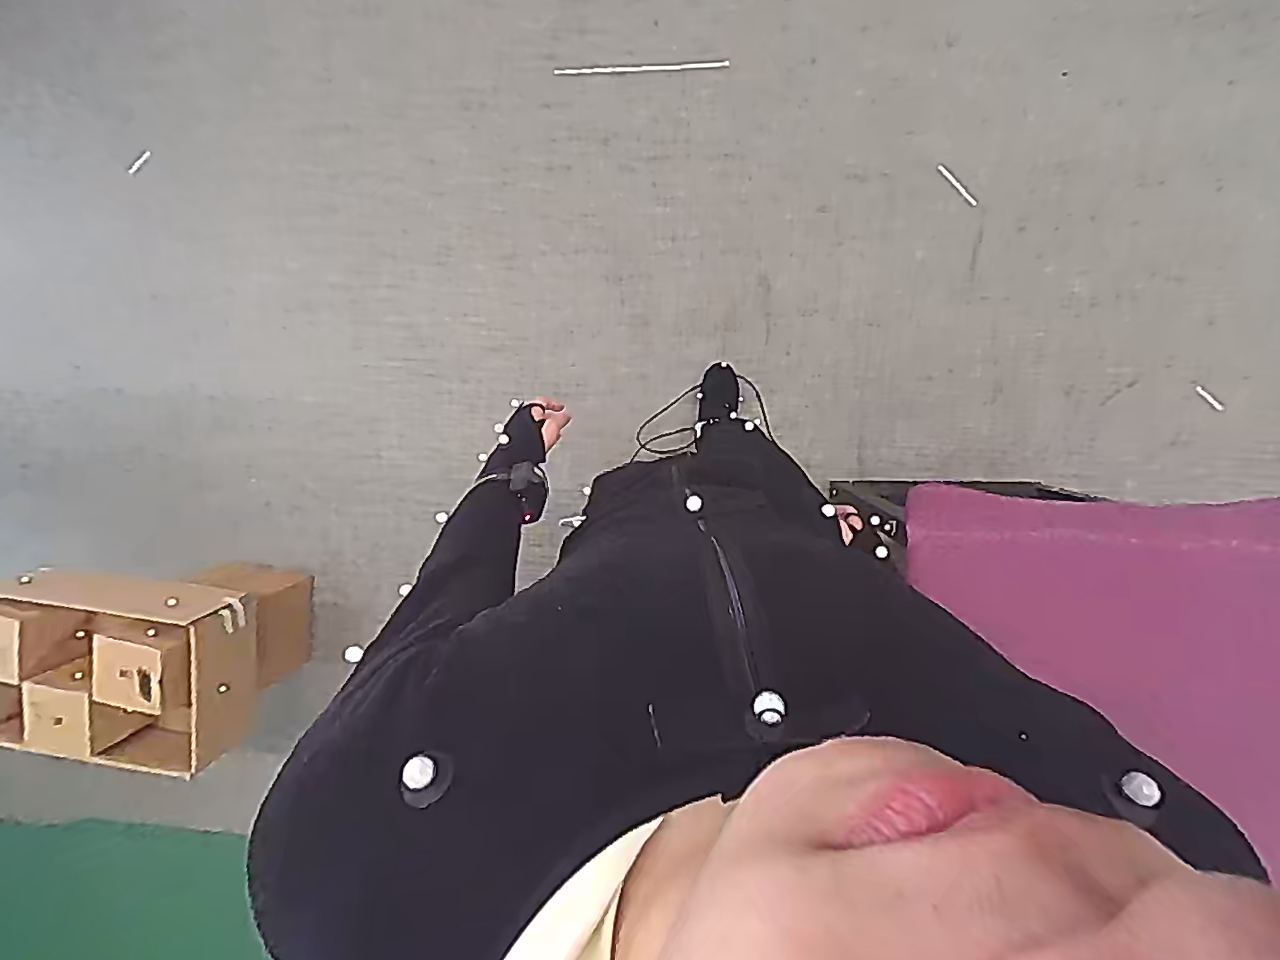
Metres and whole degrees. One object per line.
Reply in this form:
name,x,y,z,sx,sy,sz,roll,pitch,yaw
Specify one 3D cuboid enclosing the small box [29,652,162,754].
small box,-1.347,0.548,1.350,0.179,0.176,0.168,7,97,5
